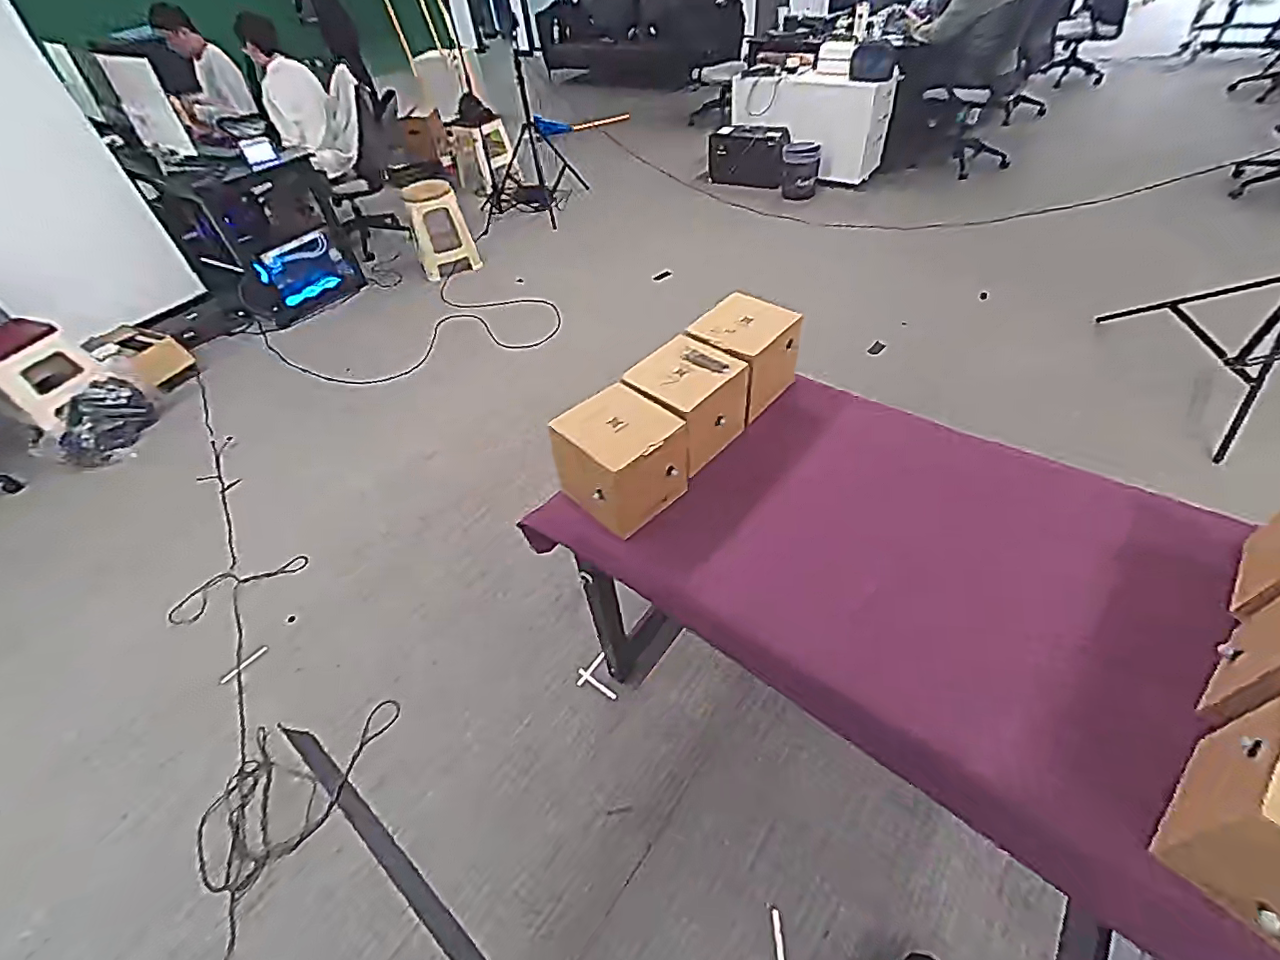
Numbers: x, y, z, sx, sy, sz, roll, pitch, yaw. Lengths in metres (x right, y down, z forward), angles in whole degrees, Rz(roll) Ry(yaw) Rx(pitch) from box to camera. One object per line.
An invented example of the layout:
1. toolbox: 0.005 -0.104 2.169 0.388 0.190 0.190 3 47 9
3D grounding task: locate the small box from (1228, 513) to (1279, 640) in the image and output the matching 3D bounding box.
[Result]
1. small box: 0.931 0.123 0.701 0.168 0.176 0.179 32 57 29

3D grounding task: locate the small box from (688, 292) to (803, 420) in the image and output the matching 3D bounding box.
1. small box: 0.214 -0.258 1.130 0.168 0.176 0.179 32 58 30

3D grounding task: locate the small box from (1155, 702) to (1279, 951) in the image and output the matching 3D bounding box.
1. small box: 0.664 0.344 0.524 0.179 0.176 0.168 -34 51 -24
